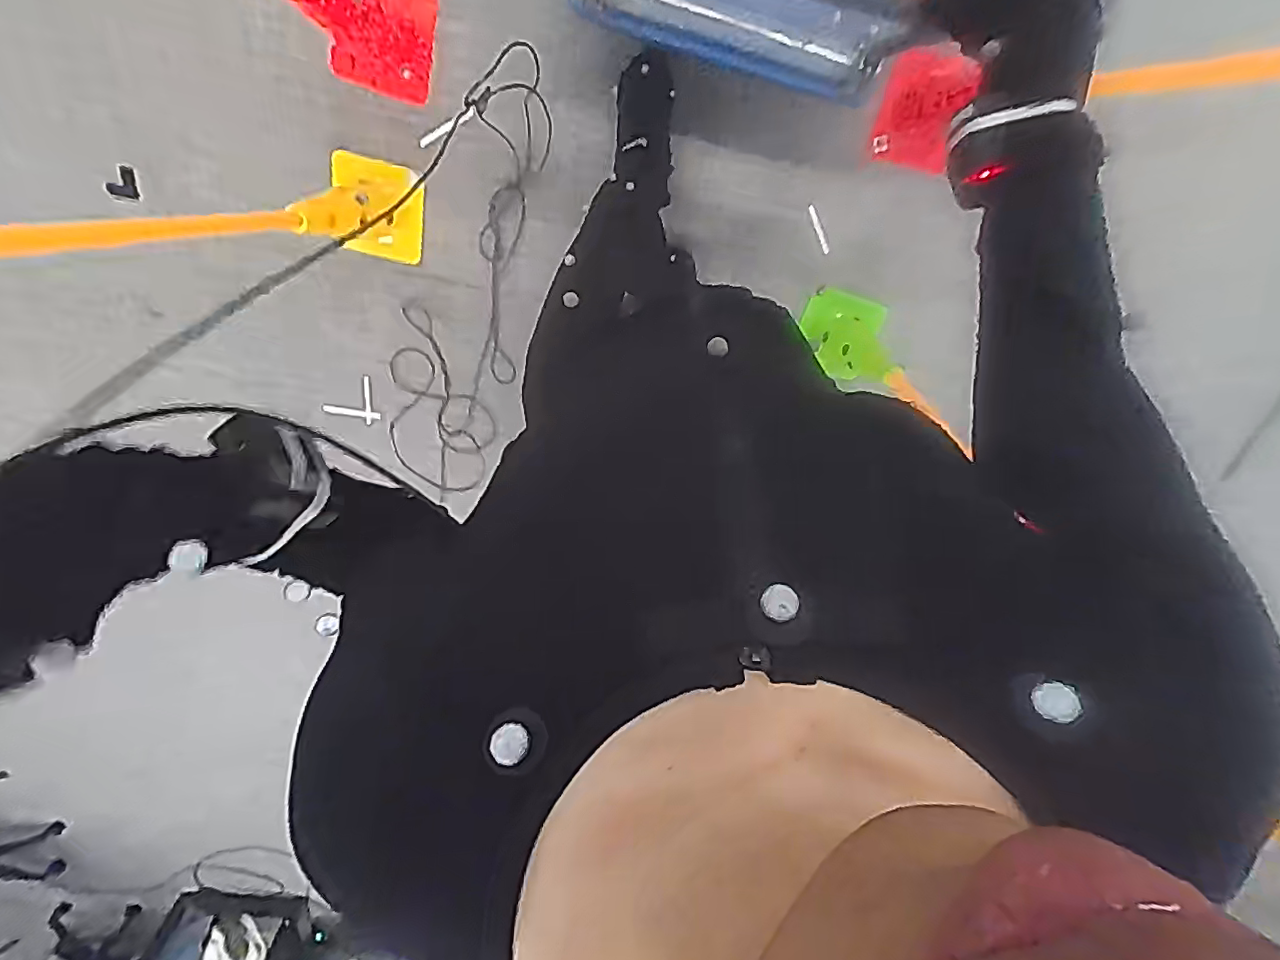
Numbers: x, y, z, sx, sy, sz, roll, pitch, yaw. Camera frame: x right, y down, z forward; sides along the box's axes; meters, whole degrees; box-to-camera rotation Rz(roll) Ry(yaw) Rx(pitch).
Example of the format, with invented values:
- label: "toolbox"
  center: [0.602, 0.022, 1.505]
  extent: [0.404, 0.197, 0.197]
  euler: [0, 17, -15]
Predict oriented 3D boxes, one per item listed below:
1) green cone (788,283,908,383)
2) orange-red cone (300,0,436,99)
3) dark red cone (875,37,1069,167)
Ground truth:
- label: "green cone"
  center: [0.500, -0.296, 1.222]
  extent: [0.202, 0.368, 0.200]
  euler: [12, 118, -8]
- label: "orange-red cone"
  center: [-0.513, -0.822, 0.927]
  extent: [0.198, 0.360, 0.199]
  euler: [16, 116, -10]
- label: "dark red cone"
  center: [0.613, -0.699, 0.978]
  extent: [0.201, 0.394, 0.202]
  euler: [9, 119, -7]
